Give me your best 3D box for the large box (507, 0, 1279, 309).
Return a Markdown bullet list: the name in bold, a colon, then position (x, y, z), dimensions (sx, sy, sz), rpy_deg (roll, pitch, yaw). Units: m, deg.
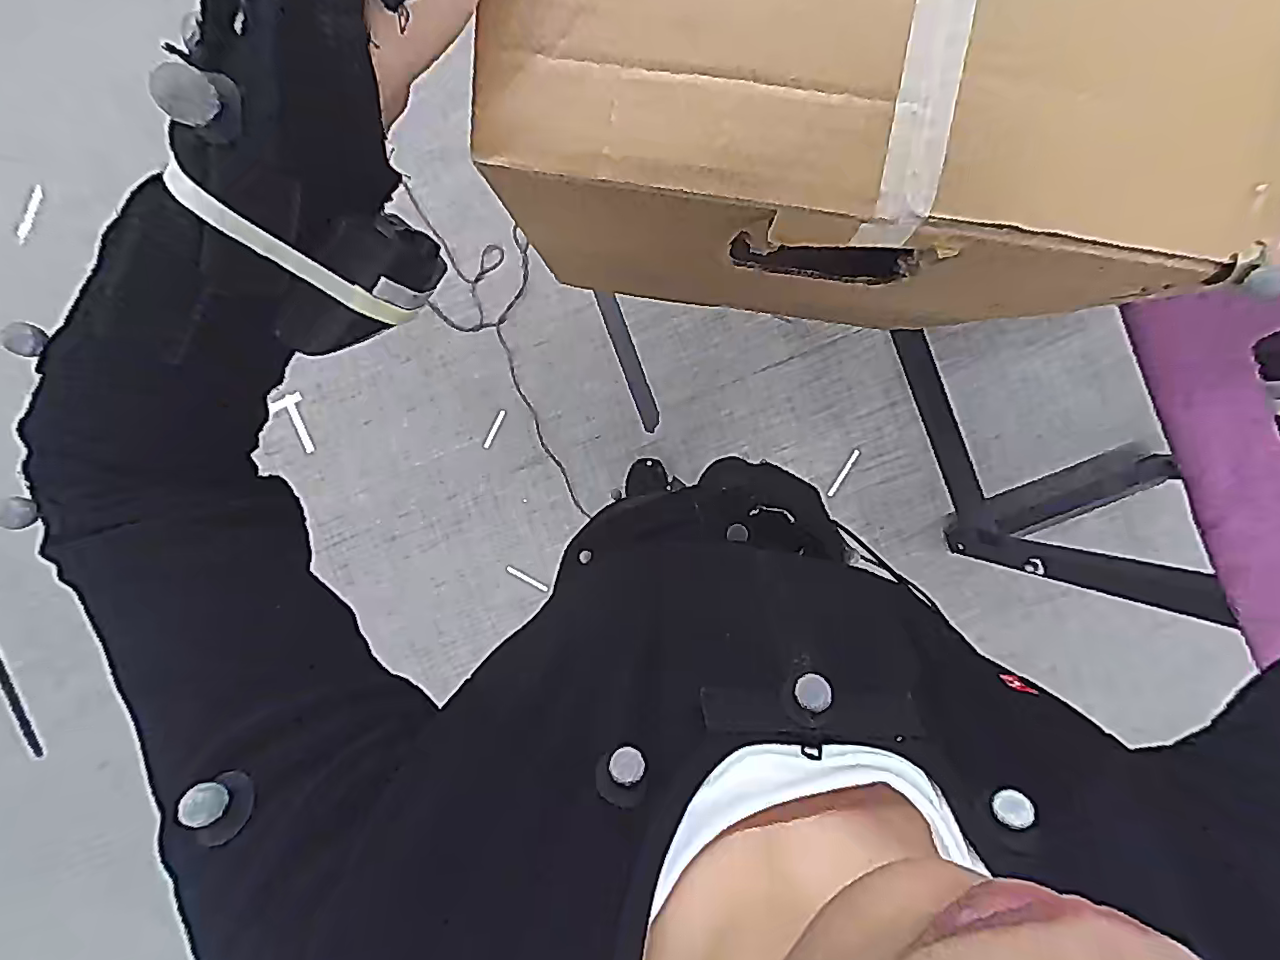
- **large box**: position (0.116, -0.331, 0.305), dimensions (0.320, 0.320, 0.408), rpy_deg (6, 103, -3)
